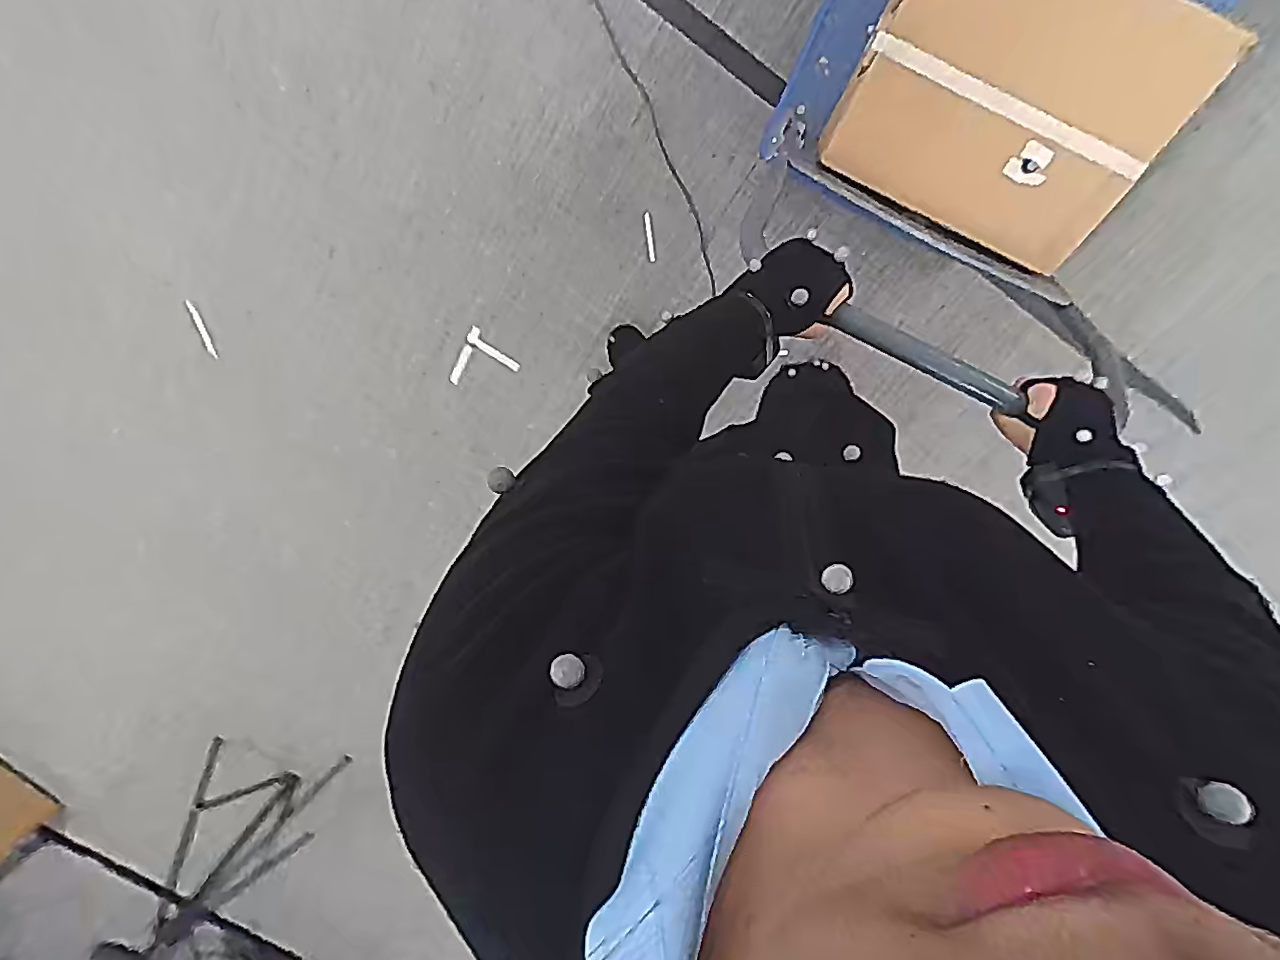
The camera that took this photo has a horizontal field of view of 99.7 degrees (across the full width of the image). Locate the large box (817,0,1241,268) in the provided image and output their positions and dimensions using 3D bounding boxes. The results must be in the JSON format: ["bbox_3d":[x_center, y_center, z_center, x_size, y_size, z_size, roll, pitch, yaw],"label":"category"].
[{"bbox_3d":[0.545,-0.606,0.869,0.408,0.320,0.320,25,129,-2],"label":"large box"}]
